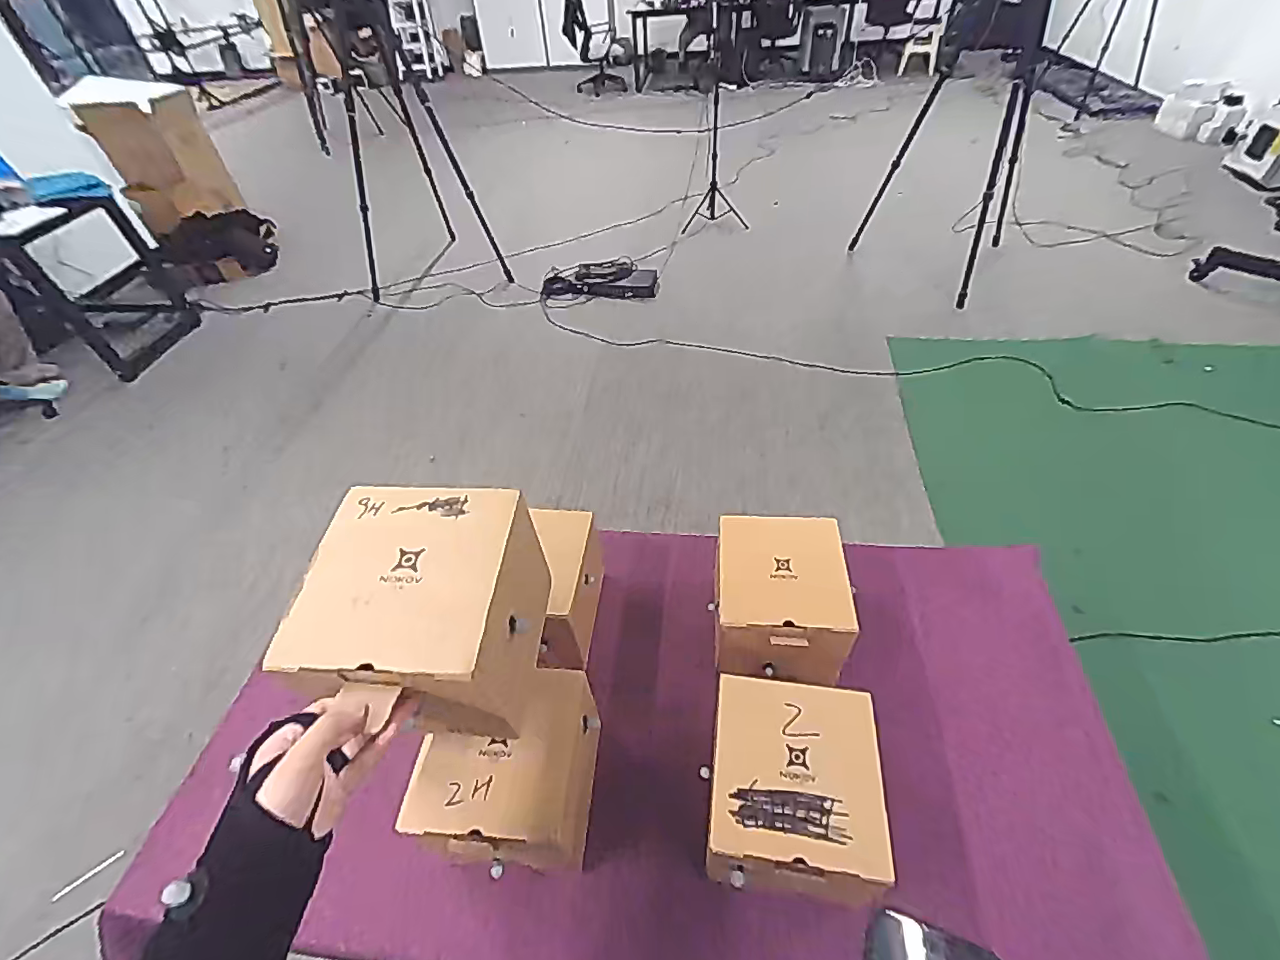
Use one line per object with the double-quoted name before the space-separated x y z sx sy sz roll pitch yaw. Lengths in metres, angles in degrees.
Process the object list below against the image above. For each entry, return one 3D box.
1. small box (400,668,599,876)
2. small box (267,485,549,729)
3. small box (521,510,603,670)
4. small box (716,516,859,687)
"small box" -0.145 0.340 0.638 0.168 0.176 0.179 1 46 6
"small box" -0.192 0.124 0.514 0.168 0.176 0.179 1 51 5
"small box" -0.153 0.165 0.808 0.168 0.176 0.179 3 47 7
"small box" 0.195 0.171 0.769 0.168 0.176 0.179 1 47 6
